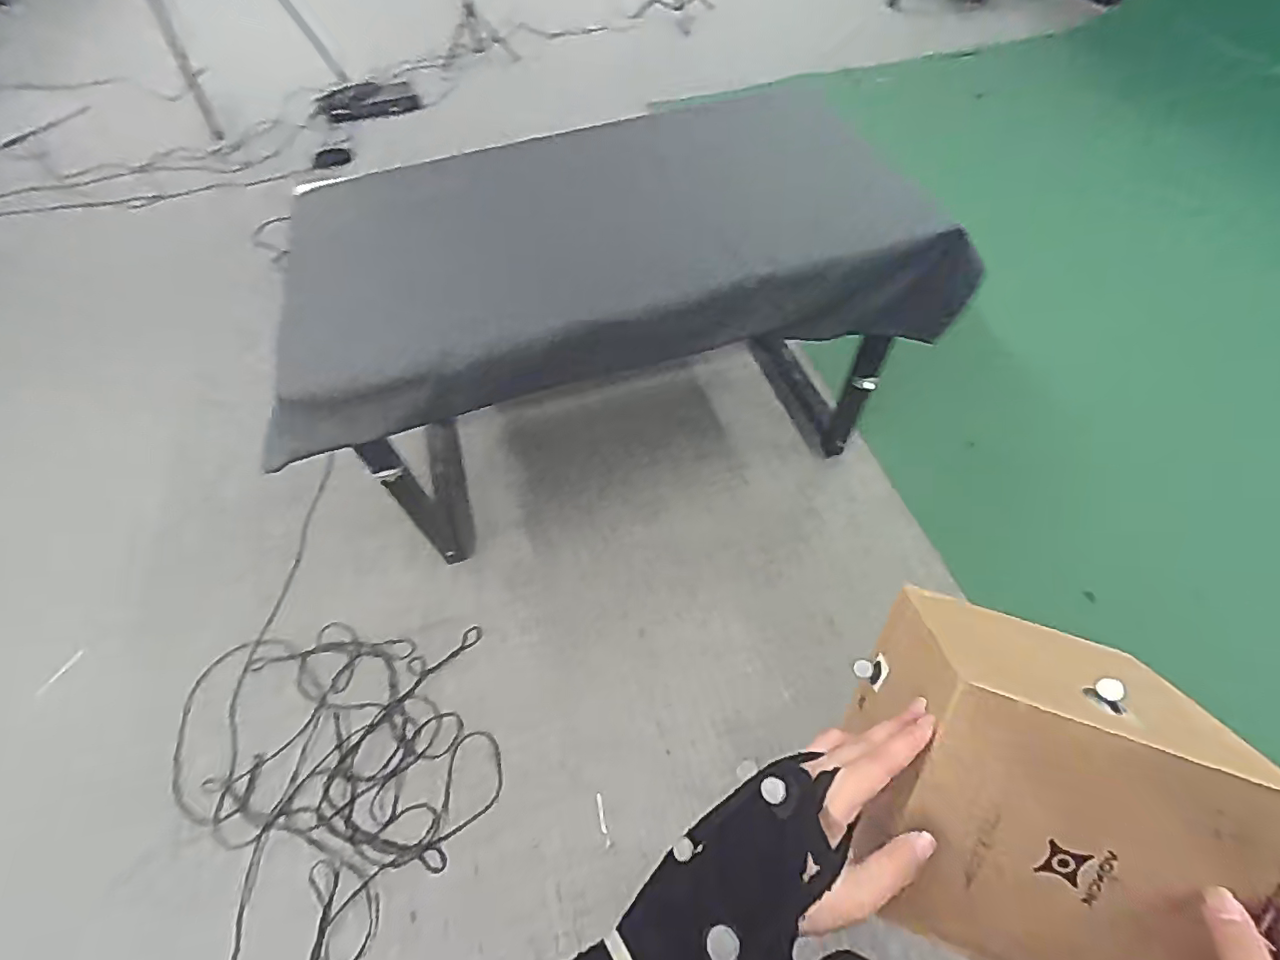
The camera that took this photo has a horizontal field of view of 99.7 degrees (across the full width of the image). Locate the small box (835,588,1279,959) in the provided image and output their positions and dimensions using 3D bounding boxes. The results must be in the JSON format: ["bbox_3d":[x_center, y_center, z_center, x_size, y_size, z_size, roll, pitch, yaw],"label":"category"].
[{"bbox_3d":[0.252,0.193,0.376,0.179,0.176,0.168,16,101,12],"label":"small box"}]
